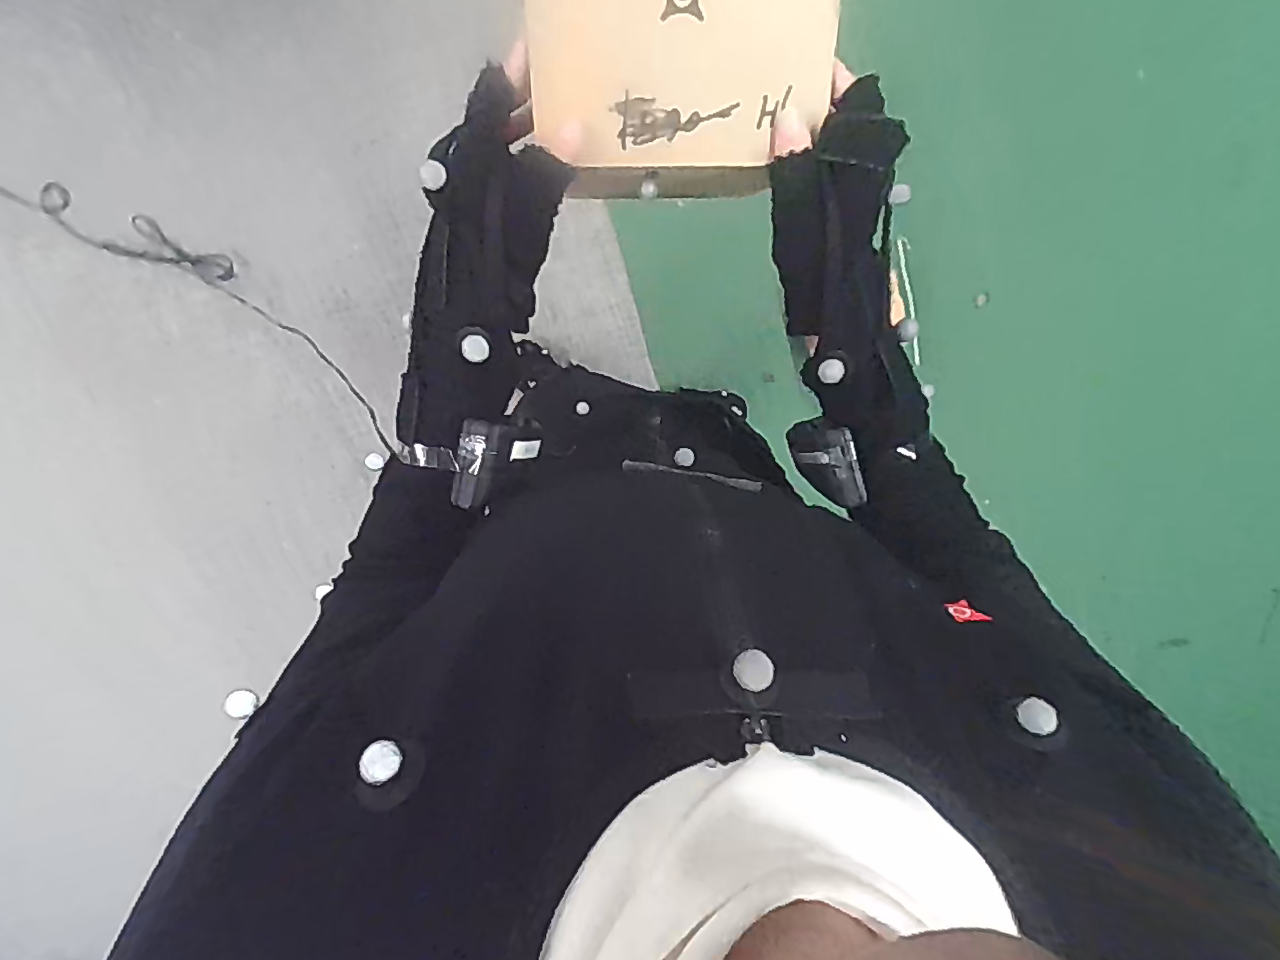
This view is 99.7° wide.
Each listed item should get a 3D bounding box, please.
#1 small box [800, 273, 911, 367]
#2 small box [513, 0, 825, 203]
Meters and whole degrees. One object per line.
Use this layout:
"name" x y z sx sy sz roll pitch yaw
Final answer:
"small box" 0.497 -0.370 1.262 0.179 0.176 0.168 -16 103 2
"small box" 0.009 -0.286 0.347 0.168 0.176 0.179 -3 113 -3
